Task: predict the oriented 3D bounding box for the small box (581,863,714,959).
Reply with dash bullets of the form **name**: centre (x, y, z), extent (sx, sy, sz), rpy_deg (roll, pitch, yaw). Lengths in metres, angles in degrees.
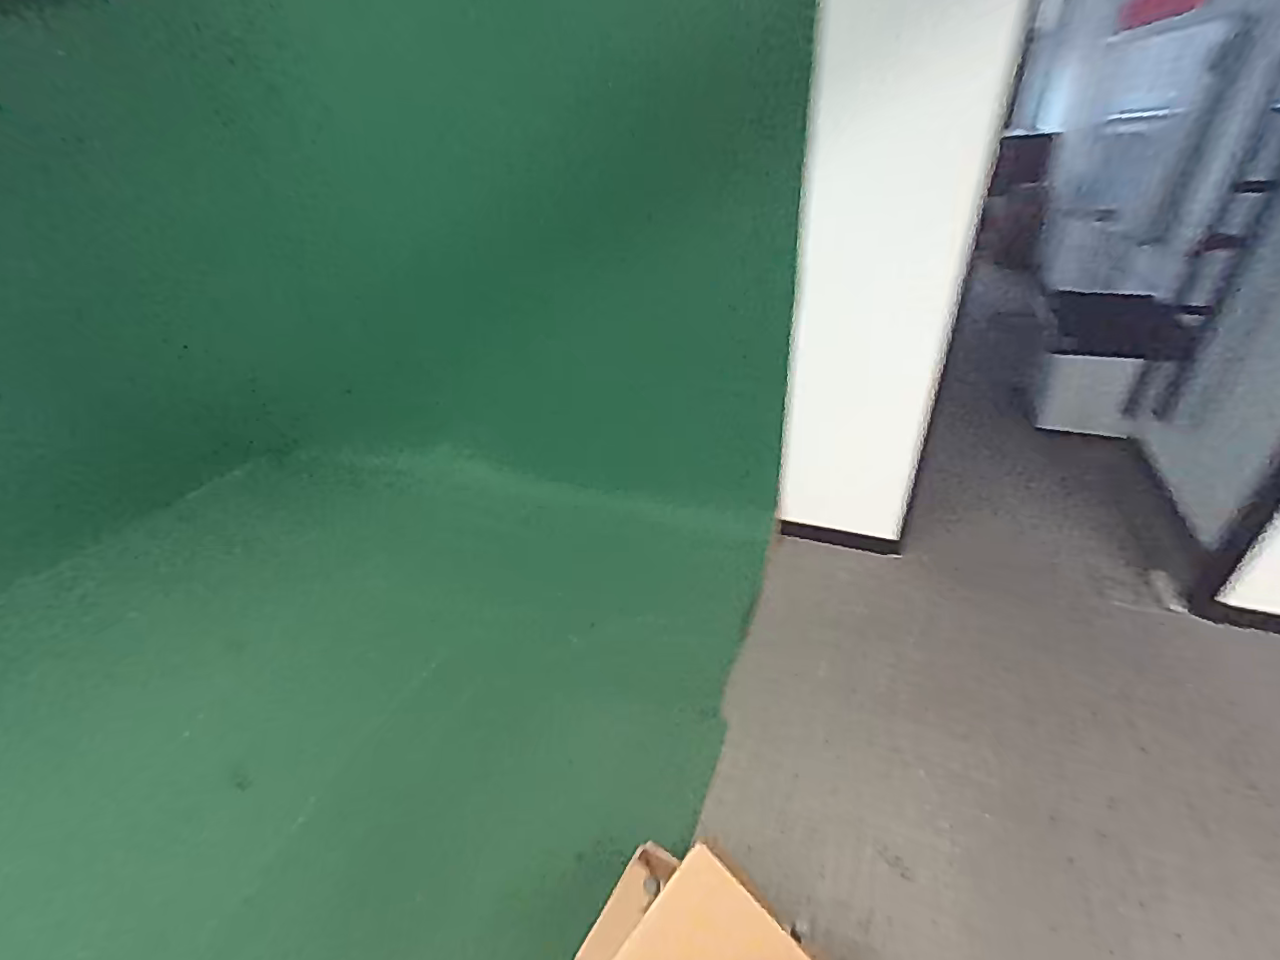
- **small box**: centre (0.018, 0.848, 0.965), extent (0.168, 0.176, 0.179), rpy_deg (20, 43, 31)
